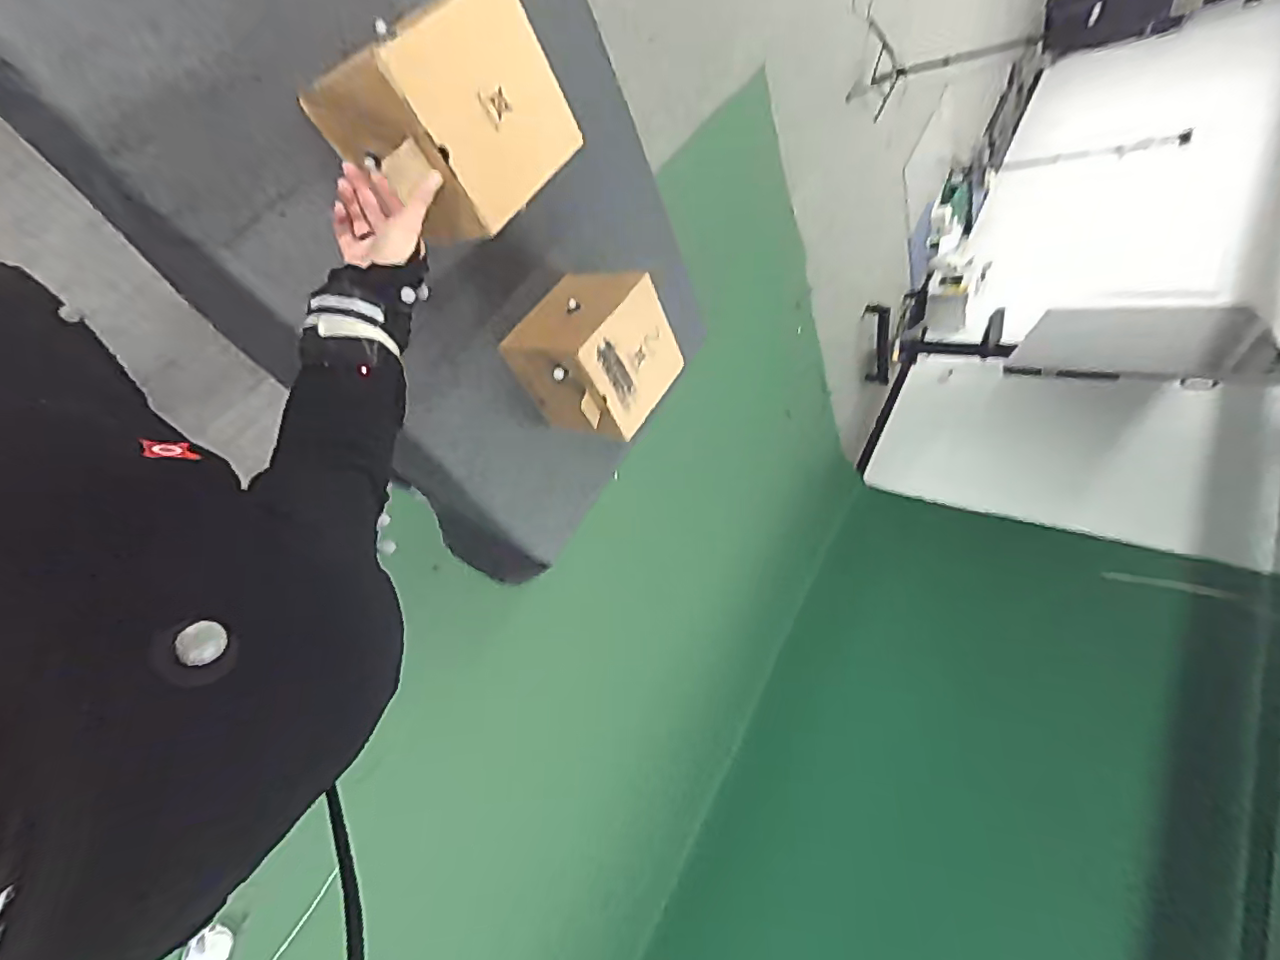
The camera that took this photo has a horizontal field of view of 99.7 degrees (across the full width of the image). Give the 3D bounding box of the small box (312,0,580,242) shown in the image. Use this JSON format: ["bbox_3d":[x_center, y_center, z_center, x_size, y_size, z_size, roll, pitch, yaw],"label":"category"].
[{"bbox_3d":[-0.203,-0.381,0.580,0.179,0.176,0.168,-58,140,-21],"label":"small box"}]
